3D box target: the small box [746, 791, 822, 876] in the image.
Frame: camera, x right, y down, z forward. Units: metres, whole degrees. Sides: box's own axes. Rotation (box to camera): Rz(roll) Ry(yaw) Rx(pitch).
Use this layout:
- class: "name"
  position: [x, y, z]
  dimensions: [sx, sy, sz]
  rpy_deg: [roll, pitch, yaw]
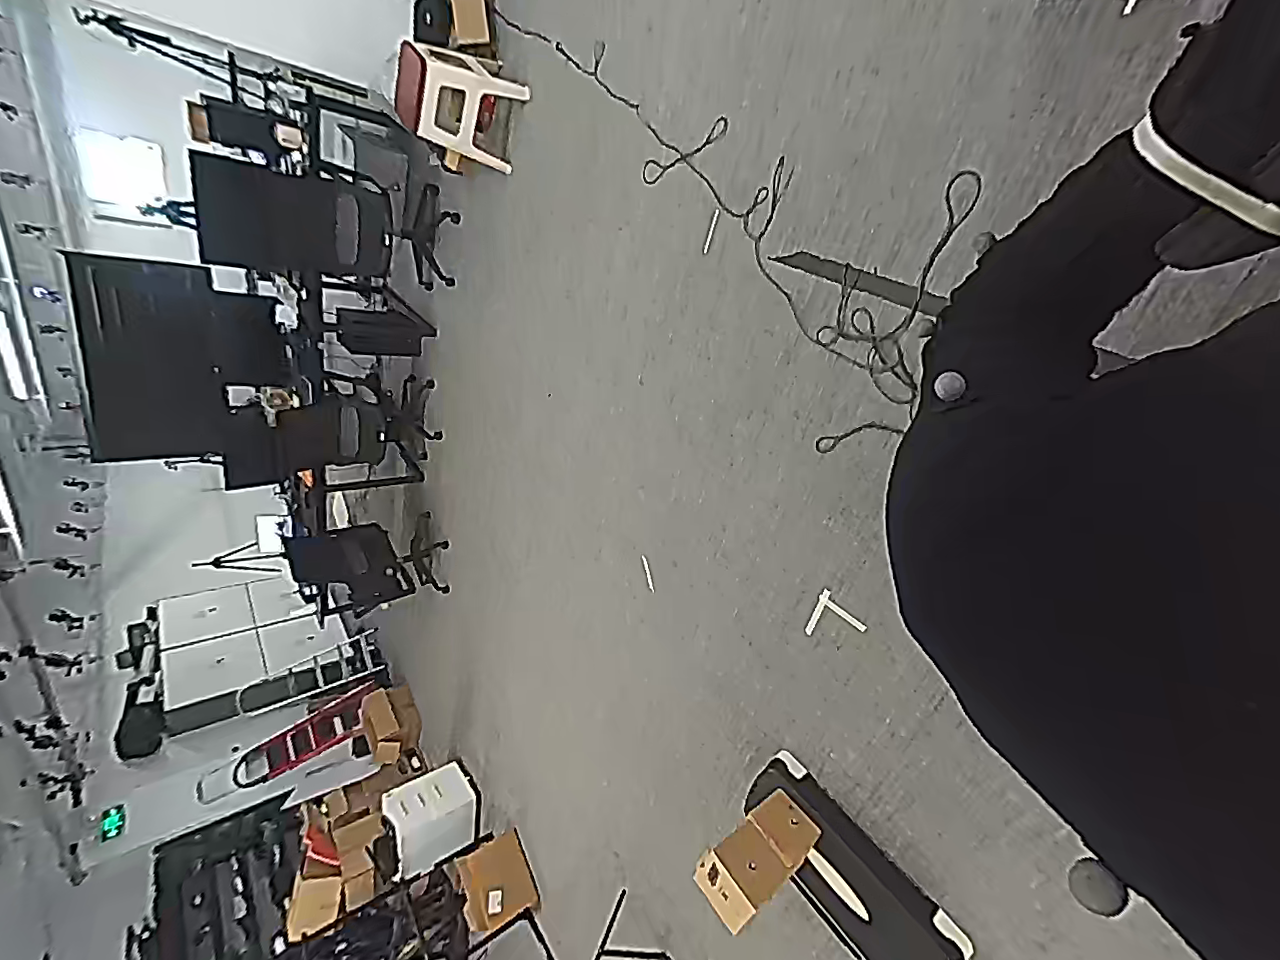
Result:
- class: "small box"
  position: [0.430, 1.111, 1.663]
  dimensions: [0.168, 0.176, 0.179]
  rpy_deg: [37, 123, 40]

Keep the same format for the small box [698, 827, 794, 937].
- class: "small box"
  position: [0.305, 1.146, 1.561]
  dimensions: [0.179, 0.176, 0.168]
  rpy_deg: [42, 127, 36]
